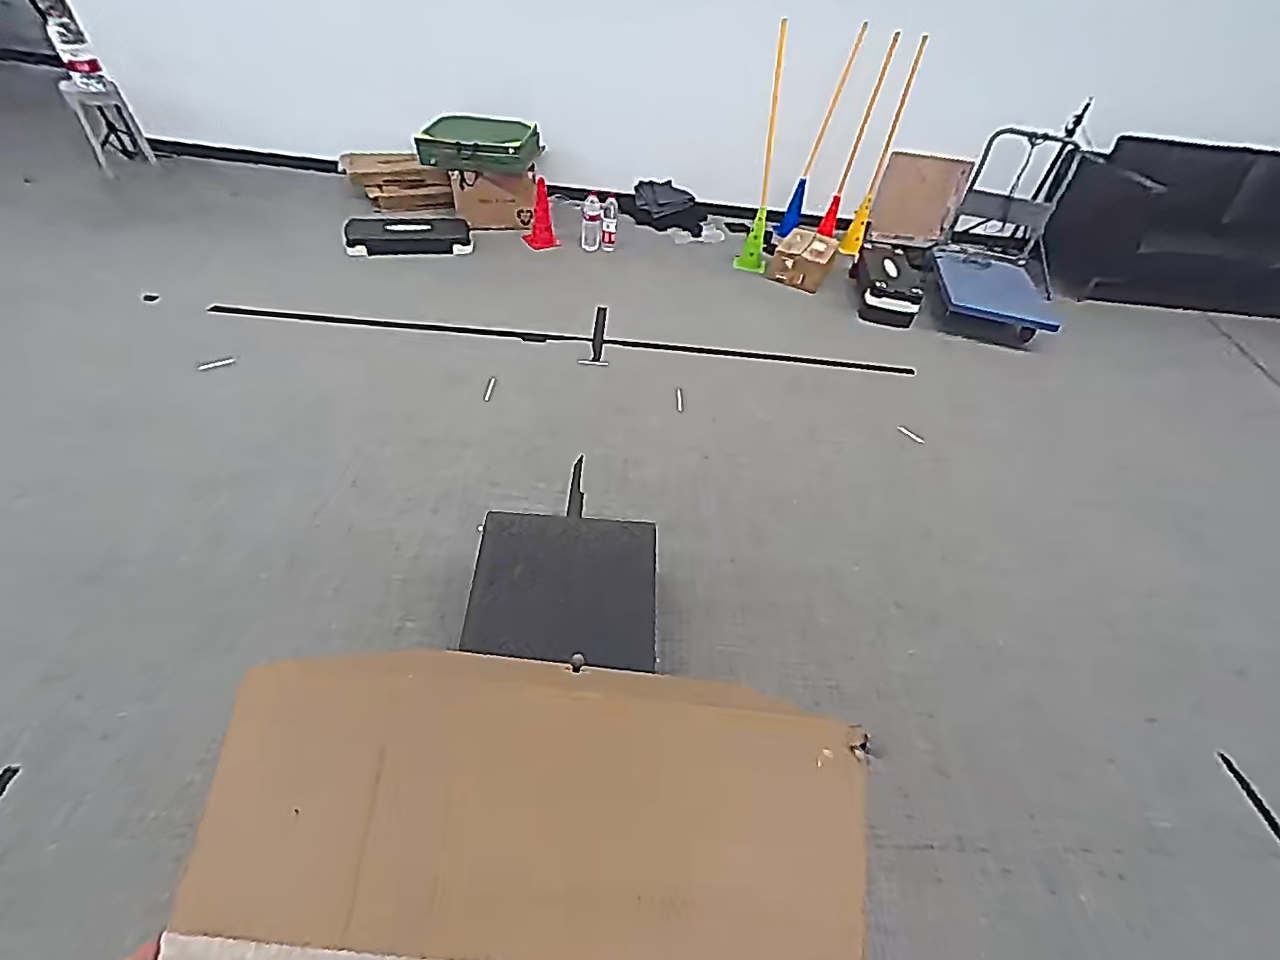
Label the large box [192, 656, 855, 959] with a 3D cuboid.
[{"bbox_3d":[-0.075,0.331,0.469,0.408,0.320,0.320,6,75,-2],"label":"large box"}]
